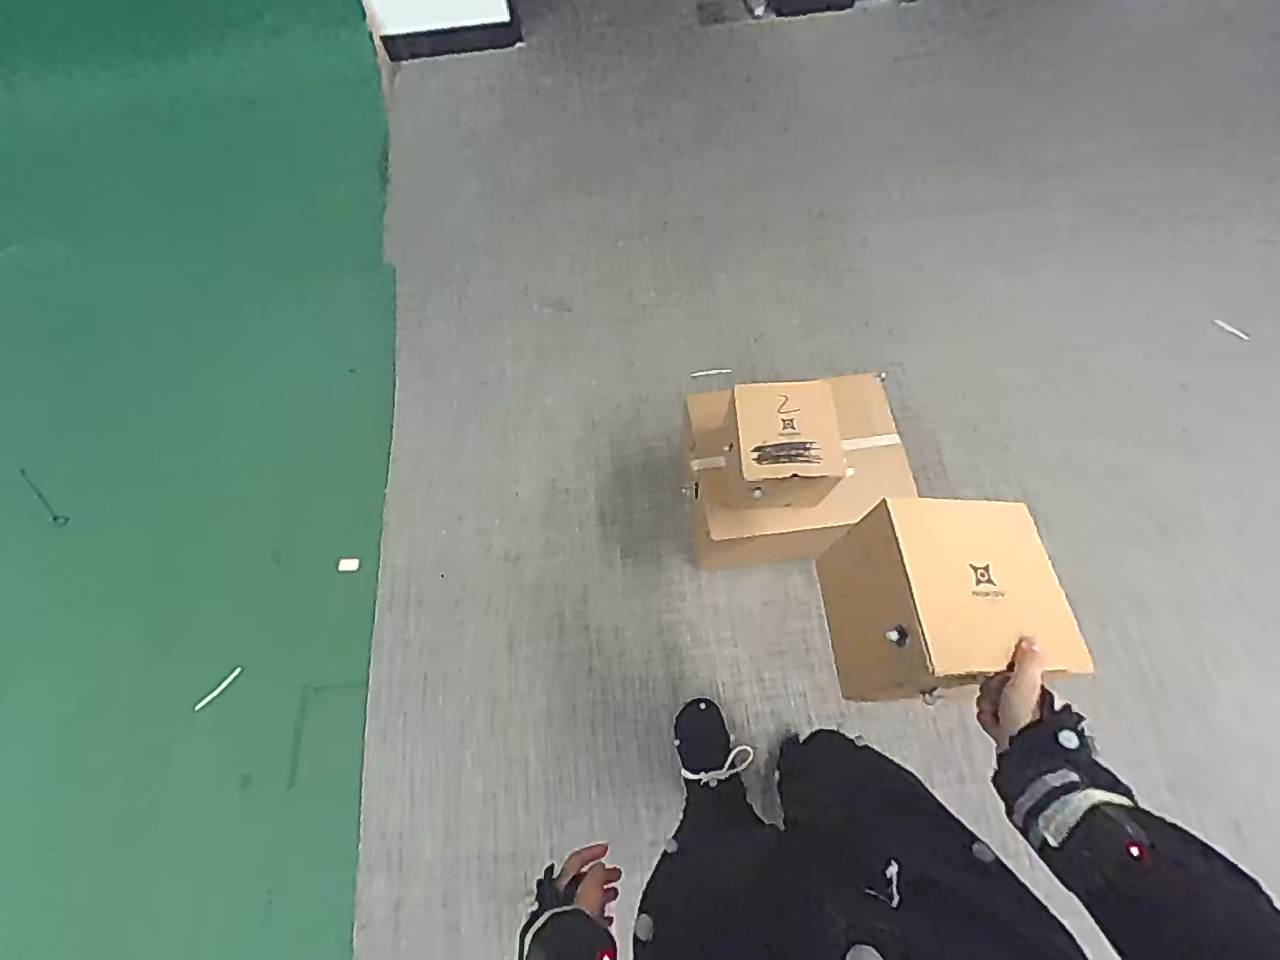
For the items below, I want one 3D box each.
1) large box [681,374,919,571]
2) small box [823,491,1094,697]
[{"bbox_3d":[0.318,0.000,1.196,0.408,0.320,0.320,-7,71,-2],"label":"large box"},{"bbox_3d":[0.320,0.131,0.591,0.168,0.176,0.179,3,61,-9],"label":"small box"}]
